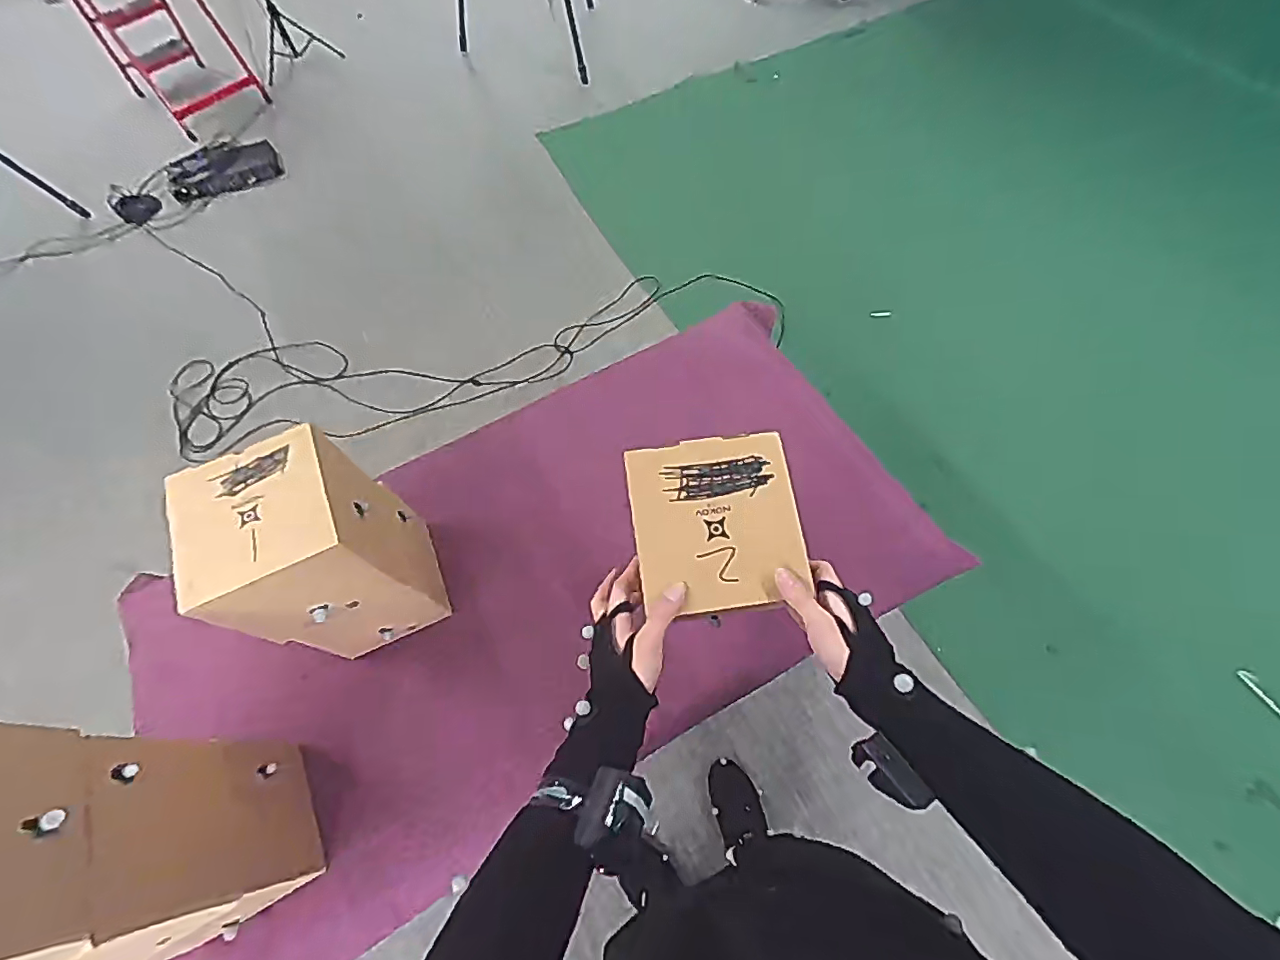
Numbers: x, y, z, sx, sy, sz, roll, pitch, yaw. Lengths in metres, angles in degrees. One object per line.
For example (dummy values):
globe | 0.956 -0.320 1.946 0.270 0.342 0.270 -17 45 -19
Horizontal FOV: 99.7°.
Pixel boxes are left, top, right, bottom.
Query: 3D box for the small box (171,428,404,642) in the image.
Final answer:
small box | -0.418 0.074 0.660 0.168 0.176 0.179 -25 65 -9

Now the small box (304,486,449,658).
small box | -0.408 0.143 0.809 0.168 0.176 0.179 -22 64 -8

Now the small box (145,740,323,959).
small box | -0.524 0.446 0.657 0.168 0.176 0.179 -28 64 -11

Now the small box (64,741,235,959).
small box | -0.526 0.374 0.512 0.168 0.176 0.179 -27 62 -10

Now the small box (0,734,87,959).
small box | -0.541 0.292 0.370 0.168 0.176 0.179 -30 62 -11
